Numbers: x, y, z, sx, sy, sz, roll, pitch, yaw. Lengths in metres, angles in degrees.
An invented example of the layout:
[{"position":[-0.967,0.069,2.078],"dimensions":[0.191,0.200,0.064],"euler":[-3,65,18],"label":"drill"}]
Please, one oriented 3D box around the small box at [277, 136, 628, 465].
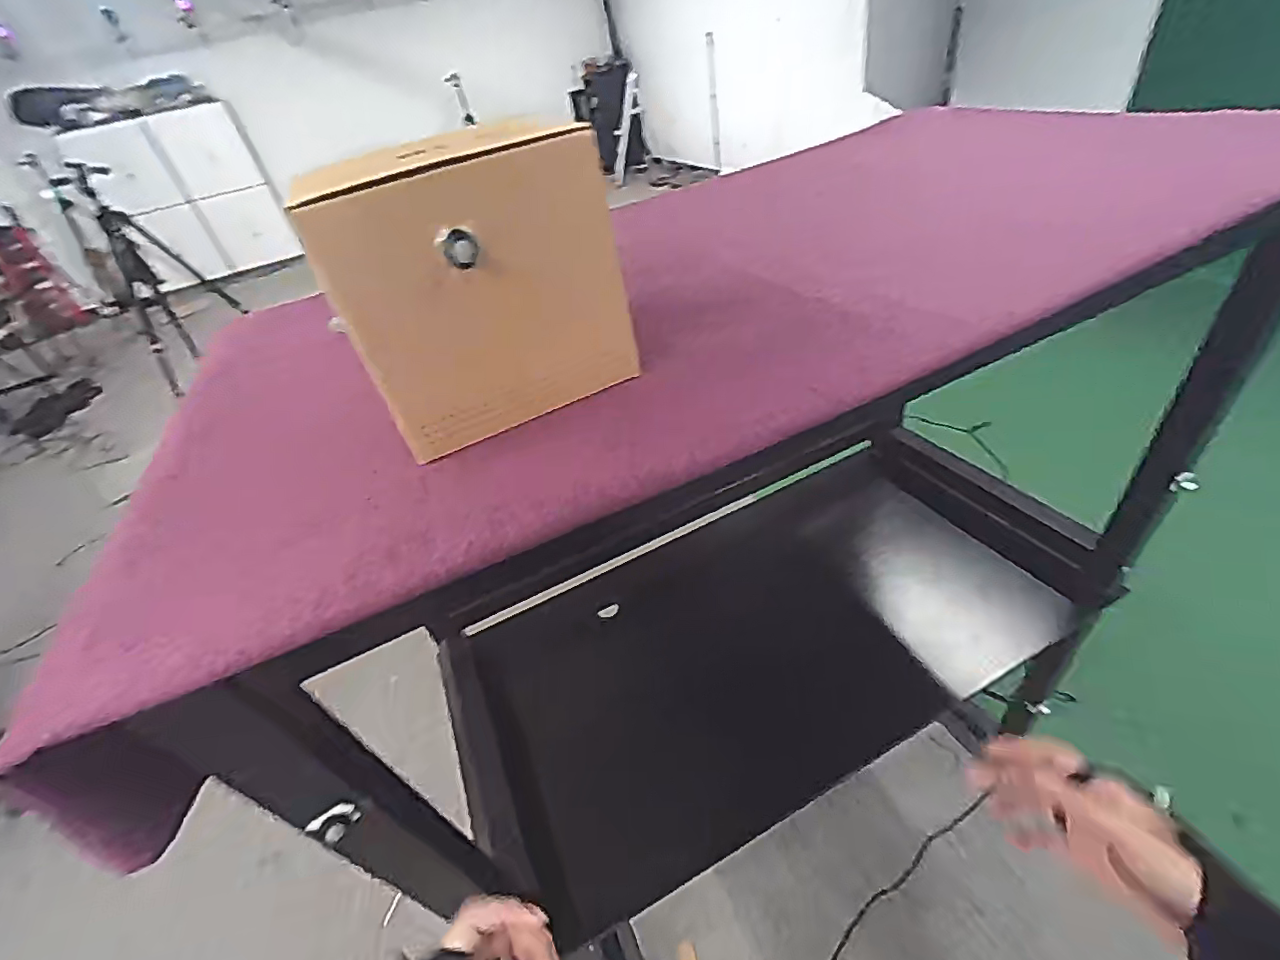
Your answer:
[{"position":[-0.129,-0.138,0.404],"dimensions":[0.179,0.176,0.168],"euler":[-25,41,-15],"label":"small box"}]
